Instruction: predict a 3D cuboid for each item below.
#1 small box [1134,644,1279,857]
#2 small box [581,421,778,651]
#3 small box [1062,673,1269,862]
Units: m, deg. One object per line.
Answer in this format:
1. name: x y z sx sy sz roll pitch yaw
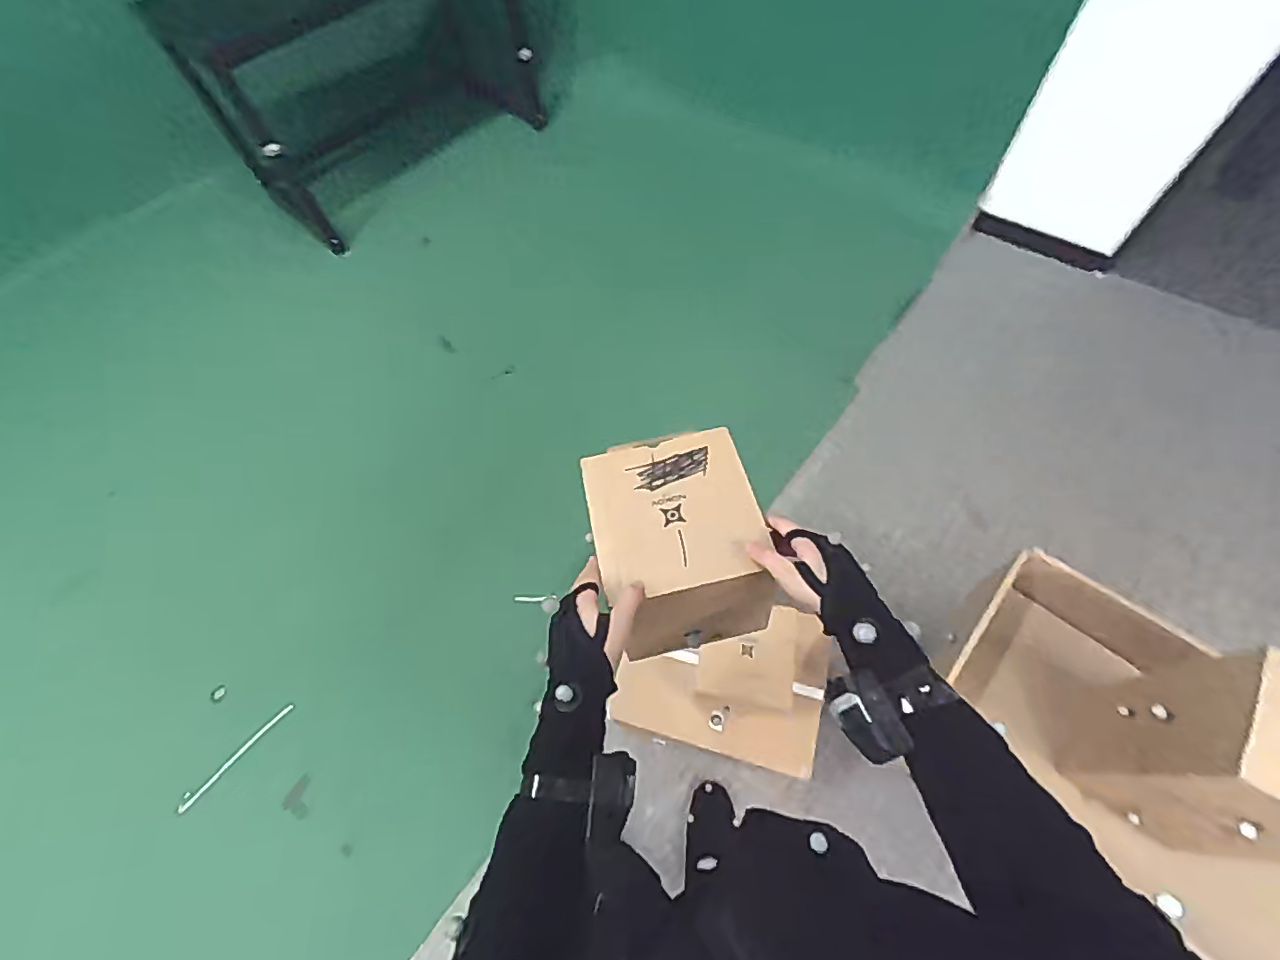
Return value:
1. small box: 0.765 0.335 0.659 0.168 0.176 0.179 33 70 20
2. small box: 0.038 0.066 0.598 0.168 0.176 0.179 -13 56 -1
3. small box: 0.781 0.414 0.801 0.168 0.176 0.179 35 70 22
